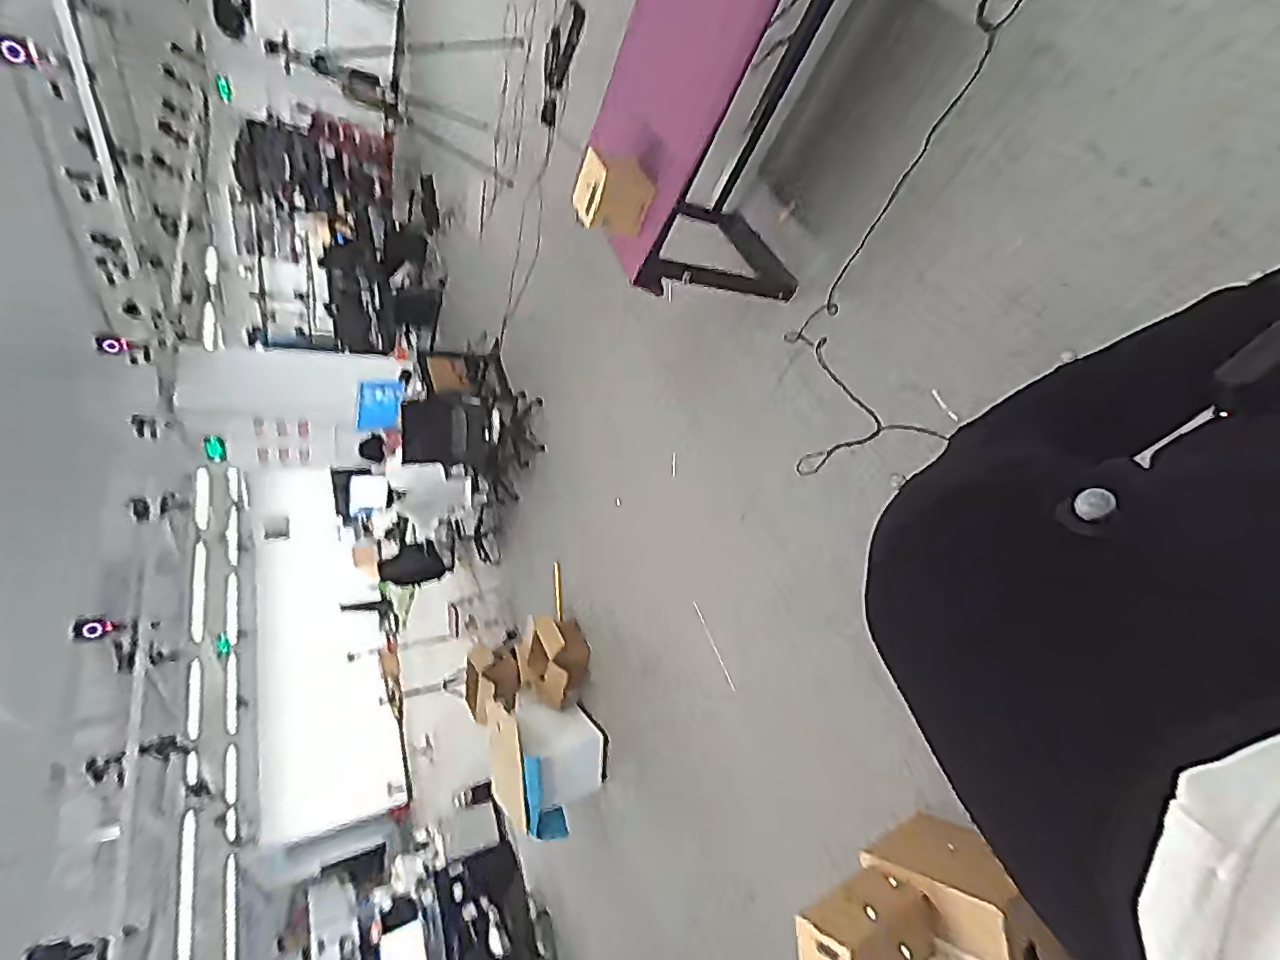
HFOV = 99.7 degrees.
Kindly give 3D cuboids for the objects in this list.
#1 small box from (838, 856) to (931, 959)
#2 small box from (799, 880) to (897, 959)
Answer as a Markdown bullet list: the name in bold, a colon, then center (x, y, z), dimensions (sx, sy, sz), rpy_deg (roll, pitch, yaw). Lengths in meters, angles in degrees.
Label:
- **small box**: center (0.671, 1.184, 1.480), dimensions (0.168, 0.176, 0.179), rpy_deg (-11, 82, 56)
- **small box**: center (0.536, 1.184, 1.388), dimensions (0.168, 0.176, 0.179), rpy_deg (-10, 84, 56)
